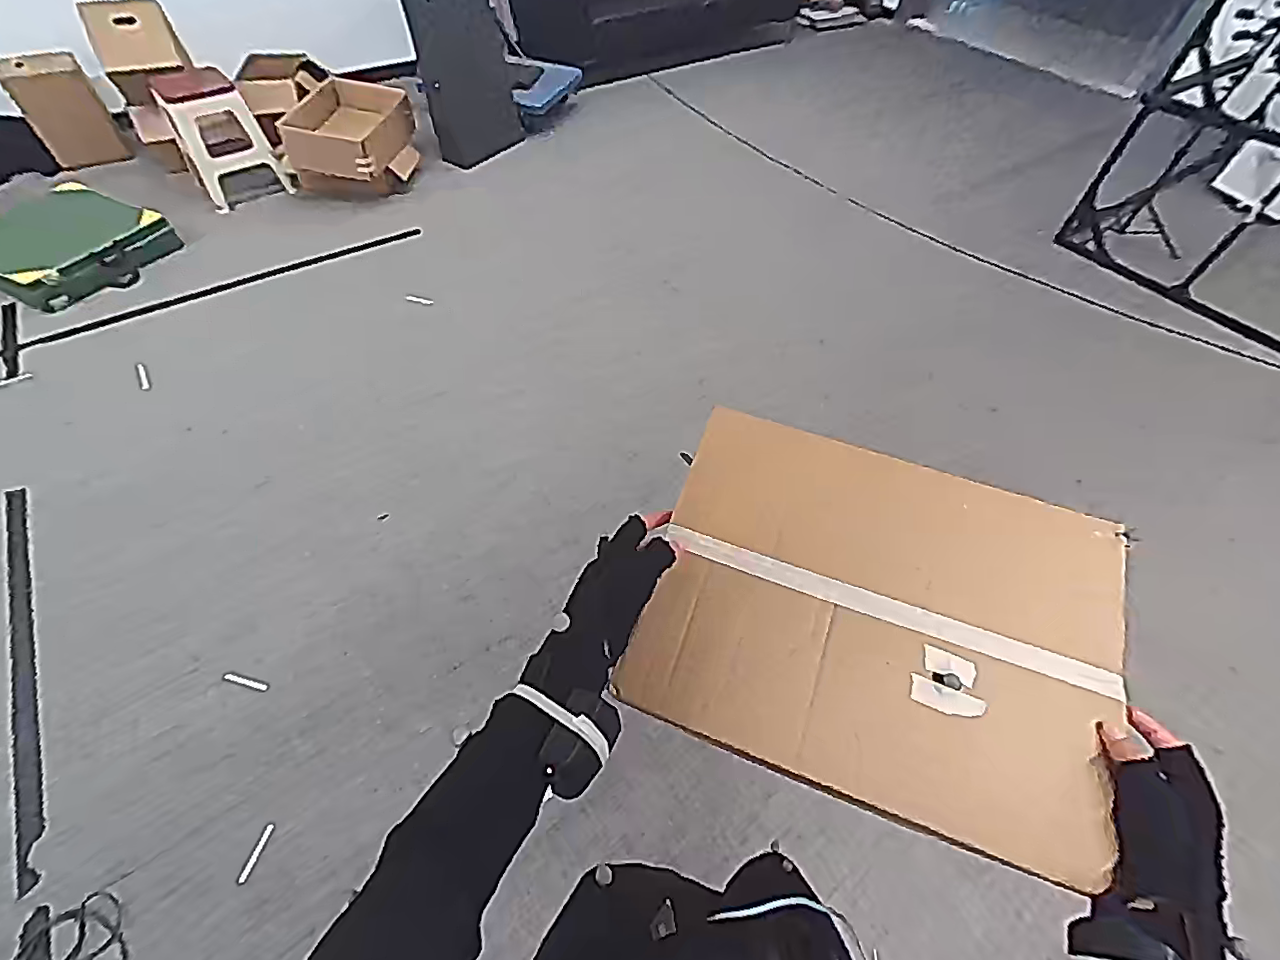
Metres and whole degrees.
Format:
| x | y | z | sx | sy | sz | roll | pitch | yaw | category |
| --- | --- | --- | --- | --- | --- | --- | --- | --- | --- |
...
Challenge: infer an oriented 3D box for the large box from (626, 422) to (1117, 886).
| x | y | z | sx | sy | sz | roll | pitch | yaw | category |
| --- | --- | --- | --- | --- | --- | --- | --- | --- | --- |
| 0.226 | 0.185 | 0.637 | 0.408 | 0.320 | 0.320 | 19 | 68 | 11 | large box |
